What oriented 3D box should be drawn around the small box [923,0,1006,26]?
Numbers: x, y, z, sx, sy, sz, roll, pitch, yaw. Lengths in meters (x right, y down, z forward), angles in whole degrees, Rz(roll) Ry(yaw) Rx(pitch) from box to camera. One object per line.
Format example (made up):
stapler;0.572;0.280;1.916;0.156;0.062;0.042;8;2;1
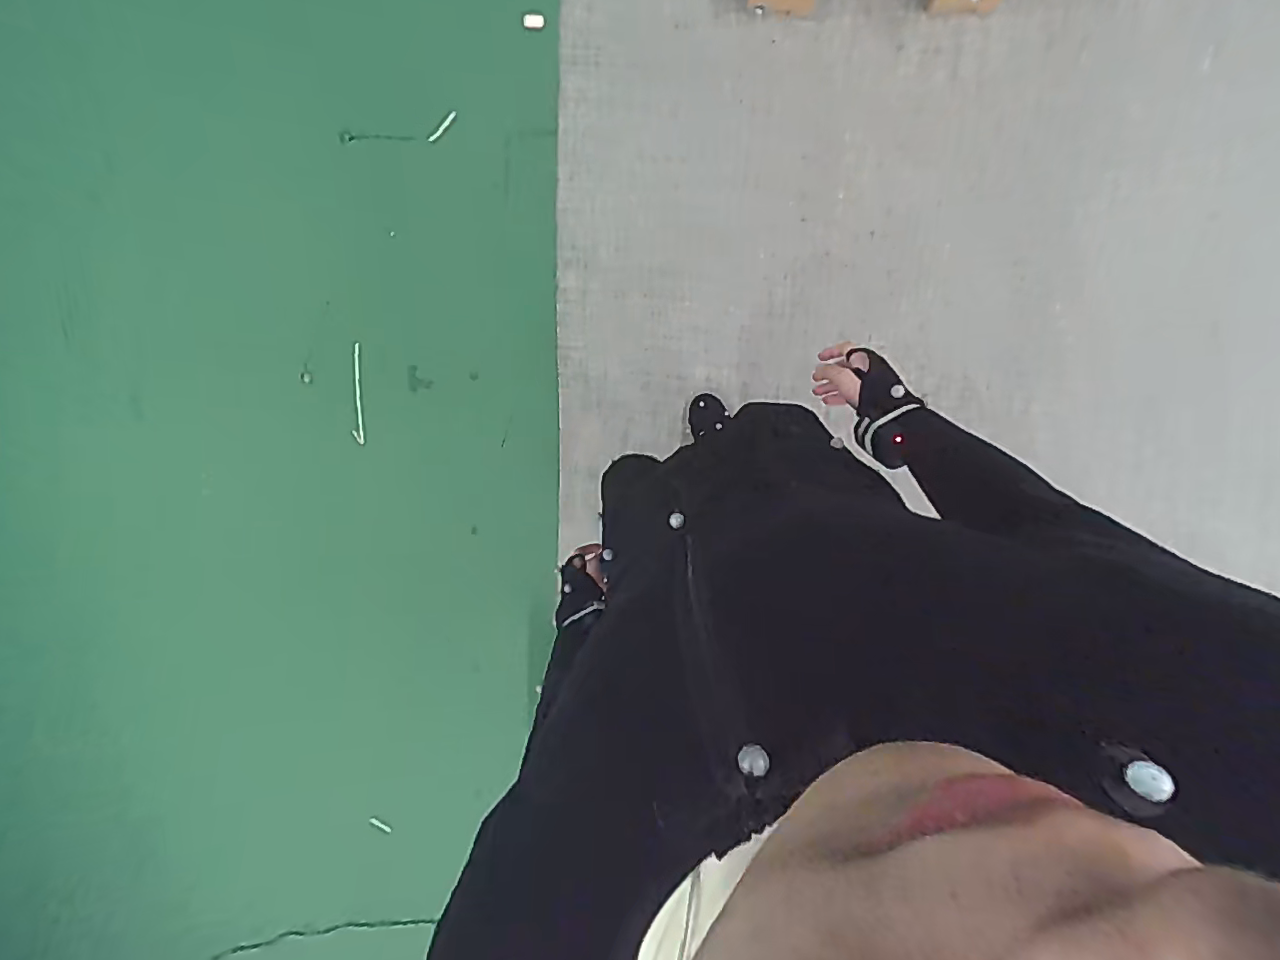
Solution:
small box;0.784;-1.204;1.260;0.168;0.176;0.179;5;101;6
